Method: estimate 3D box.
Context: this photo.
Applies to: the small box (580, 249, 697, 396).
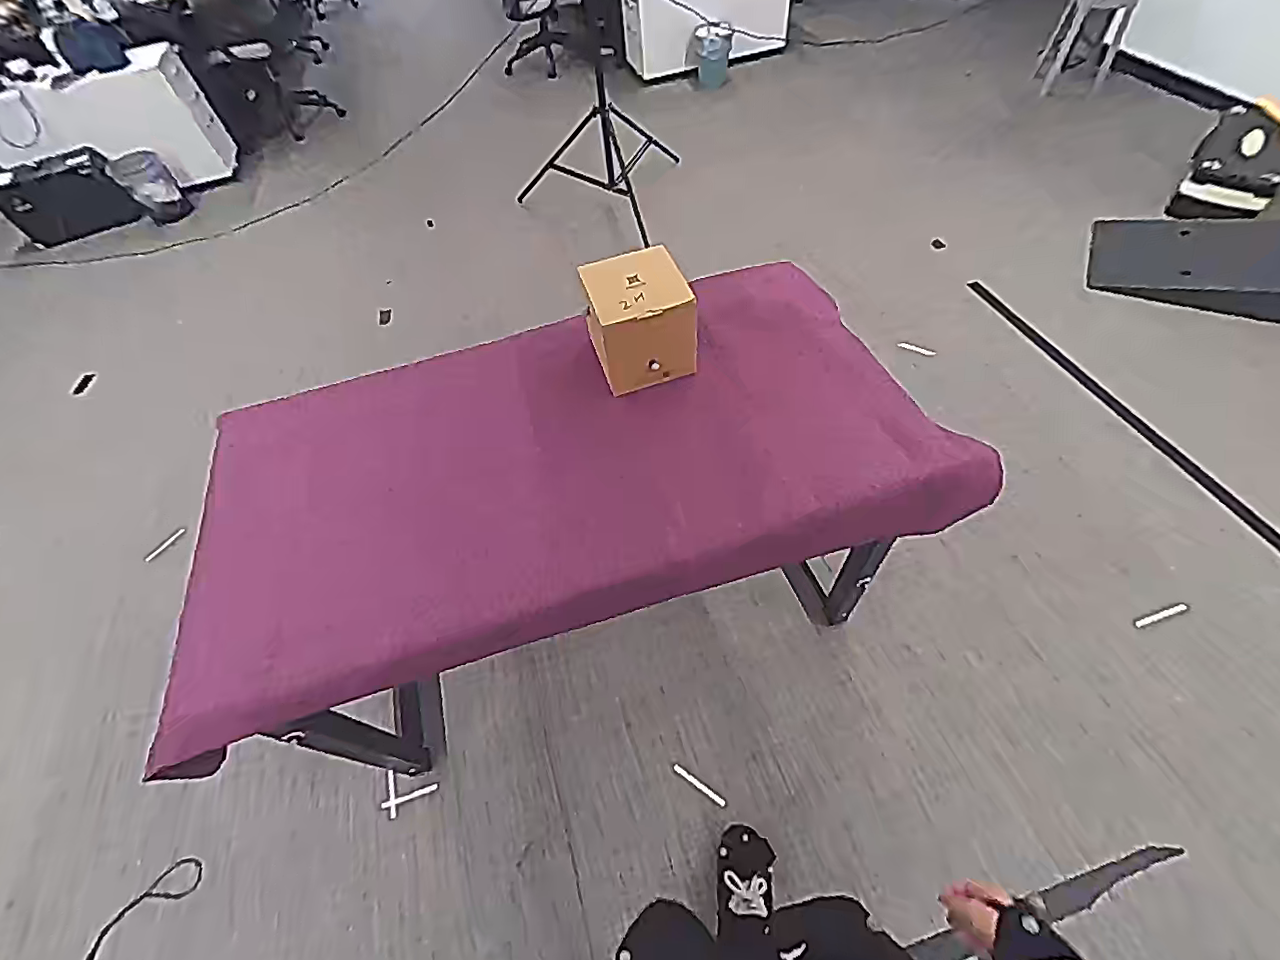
[{"bbox_3d":[-0.002,-0.287,0.996,0.168,0.176,0.179,-17,56,-5],"label":"small box"}]
